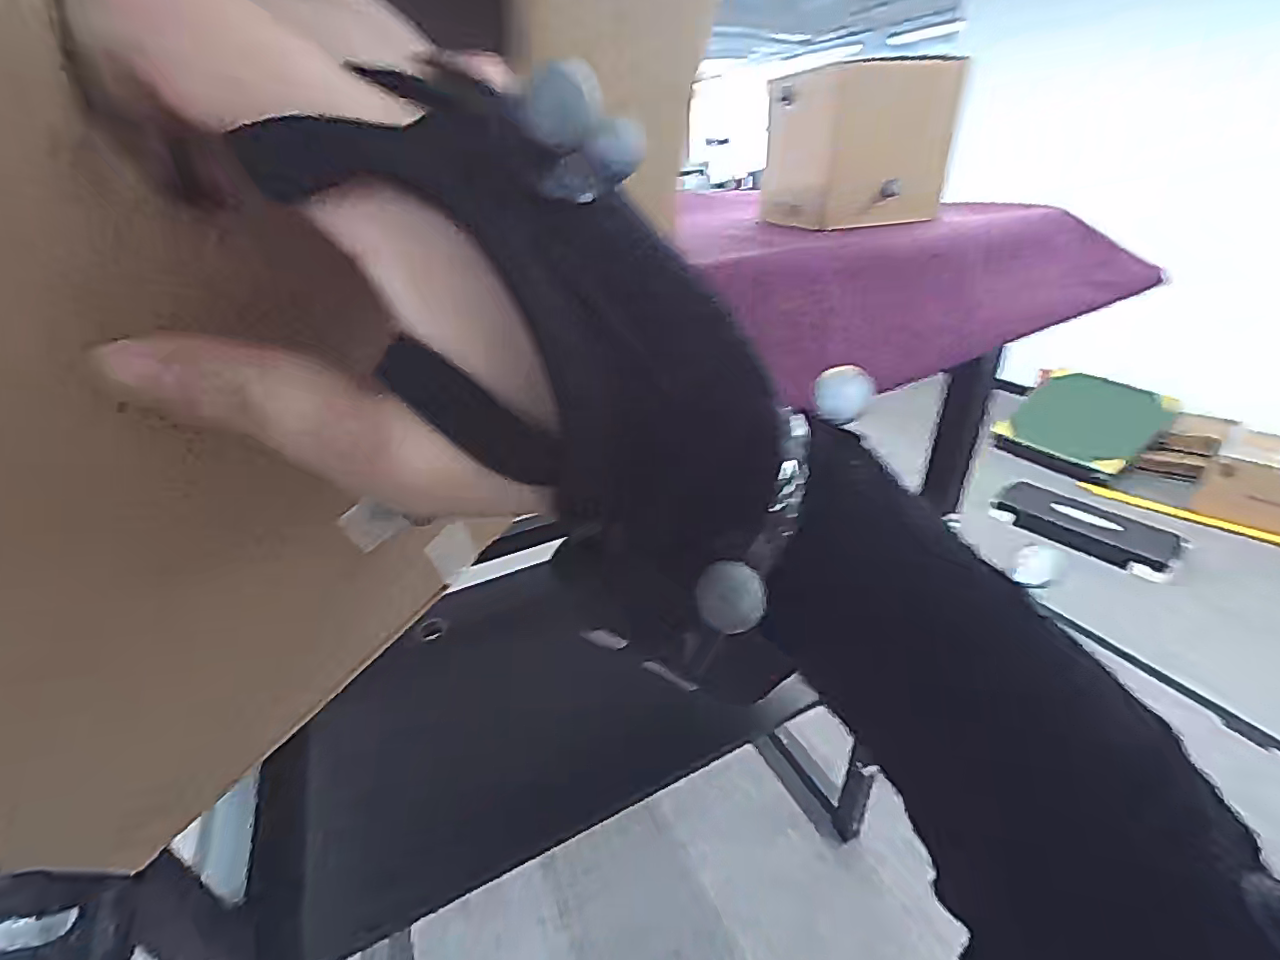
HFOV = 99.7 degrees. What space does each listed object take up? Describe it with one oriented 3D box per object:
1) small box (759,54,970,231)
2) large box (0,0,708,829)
[{"bbox_3d":[0.268,-0.423,0.690,0.179,0.176,0.168,-11,31,-14],"label":"small box"},{"bbox_3d":[-0.225,-0.148,0.208,0.408,0.320,0.320,33,54,14],"label":"large box"}]
